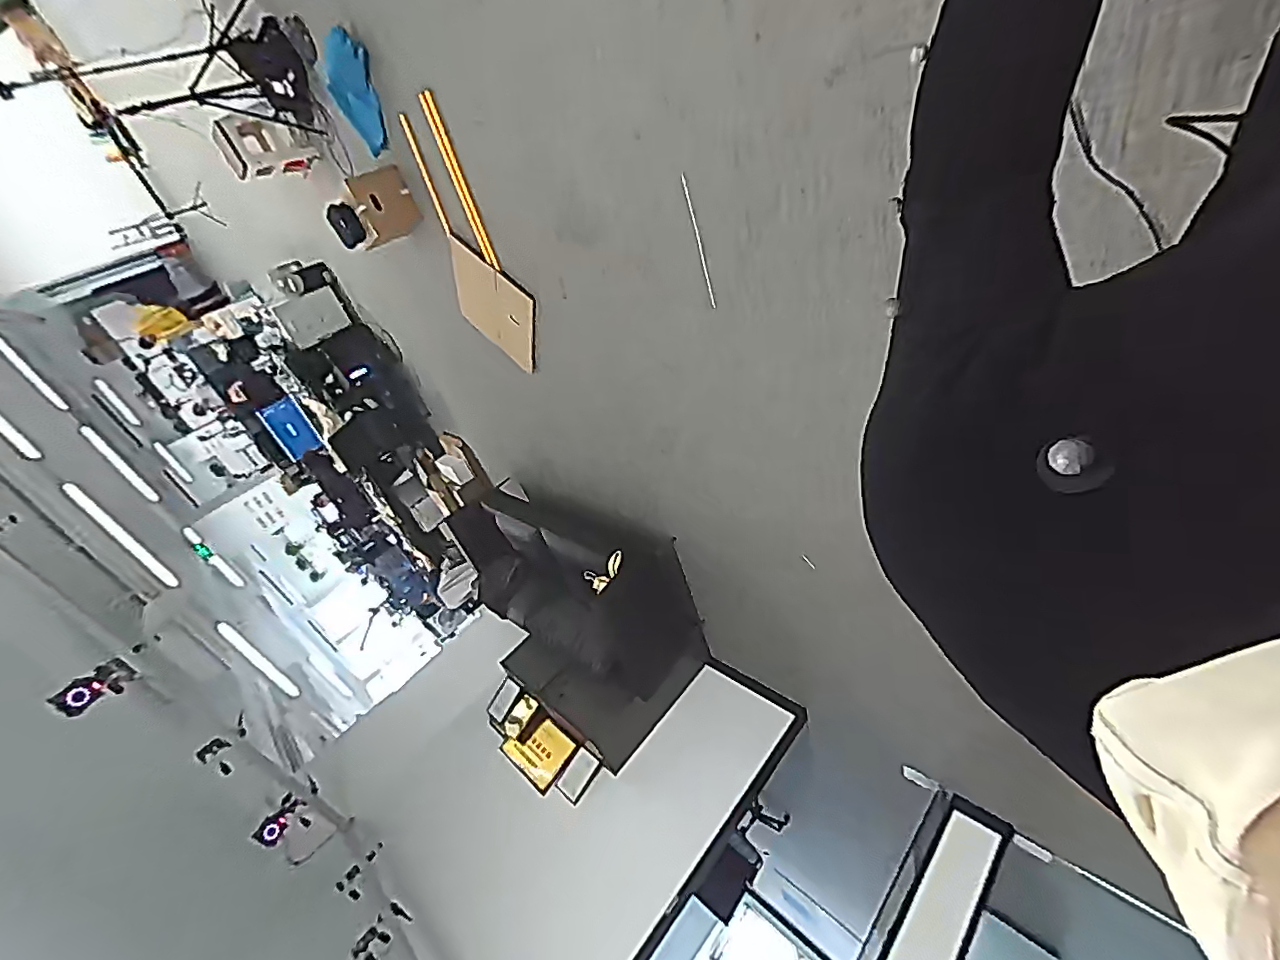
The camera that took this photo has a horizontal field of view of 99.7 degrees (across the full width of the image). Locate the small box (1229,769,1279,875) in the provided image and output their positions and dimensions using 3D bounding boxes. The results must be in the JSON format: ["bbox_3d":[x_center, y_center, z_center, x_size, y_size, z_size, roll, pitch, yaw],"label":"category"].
[{"bbox_3d":[1.553,0.827,1.271,0.179,0.176,0.168,23,142,37],"label":"small box"}]
